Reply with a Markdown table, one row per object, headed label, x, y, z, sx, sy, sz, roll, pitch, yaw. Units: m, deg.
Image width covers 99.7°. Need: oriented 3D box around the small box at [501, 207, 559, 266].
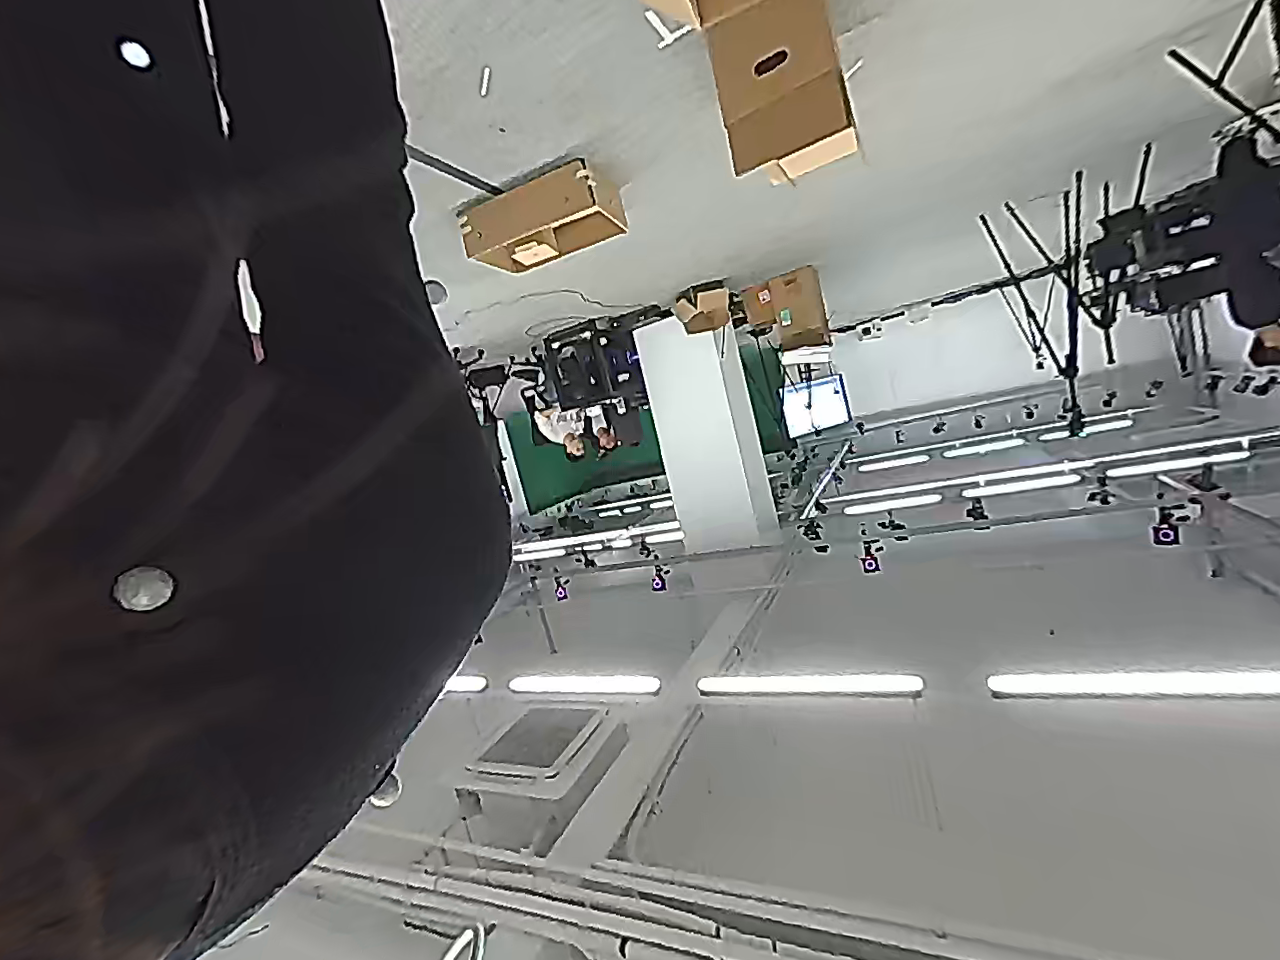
| label | x | y | z | sx | sy | sz | roll | pitch | yaw |
| --- | --- | --- | --- | --- | --- | --- | --- | --- | --- |
| small box | -0.475 | -1.050 | 2.325 | 0.168 | 0.176 | 0.179 | -14 | -175 | 13 |
